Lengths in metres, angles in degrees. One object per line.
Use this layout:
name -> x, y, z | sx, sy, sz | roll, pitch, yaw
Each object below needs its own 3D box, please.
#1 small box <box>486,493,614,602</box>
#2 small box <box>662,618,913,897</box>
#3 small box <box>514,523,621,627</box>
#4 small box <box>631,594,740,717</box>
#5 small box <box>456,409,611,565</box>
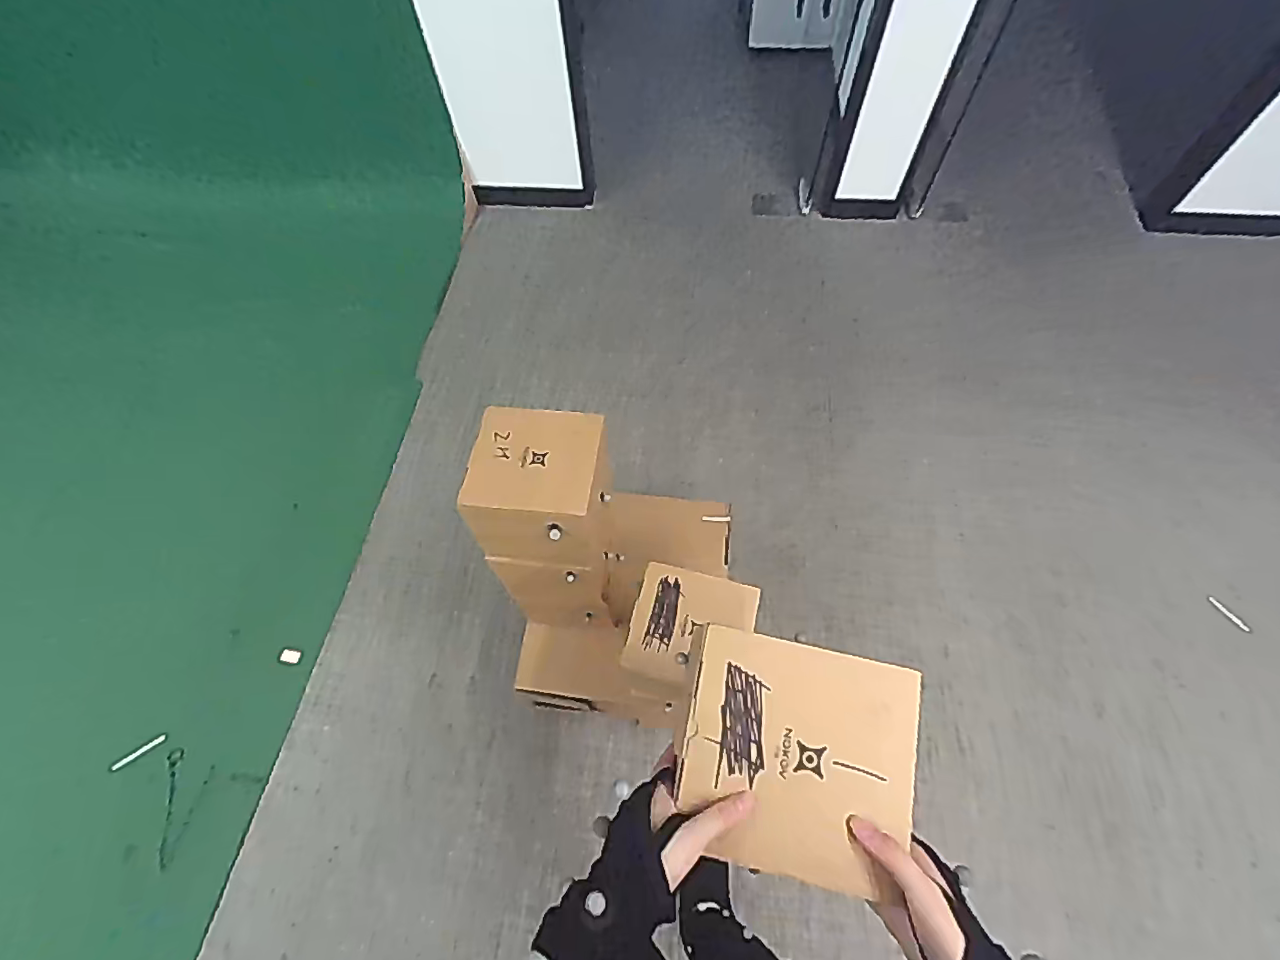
small box -> -0.146, 0.104, 0.944 | 0.179, 0.176, 0.168 | 4, 59, 4
small box -> 0.120, 0.233, 0.496 | 0.179, 0.176, 0.168 | 12, 73, 5
small box -> -0.133, 0.189, 1.082 | 0.179, 0.176, 0.168 | 3, 59, 5
small box -> 0.081, 0.331, 0.989 | 0.168, 0.176, 0.179 | 9, 61, 6
small box -> -0.142, 0.016, 0.804 | 0.179, 0.176, 0.168 | 5, 58, 5
